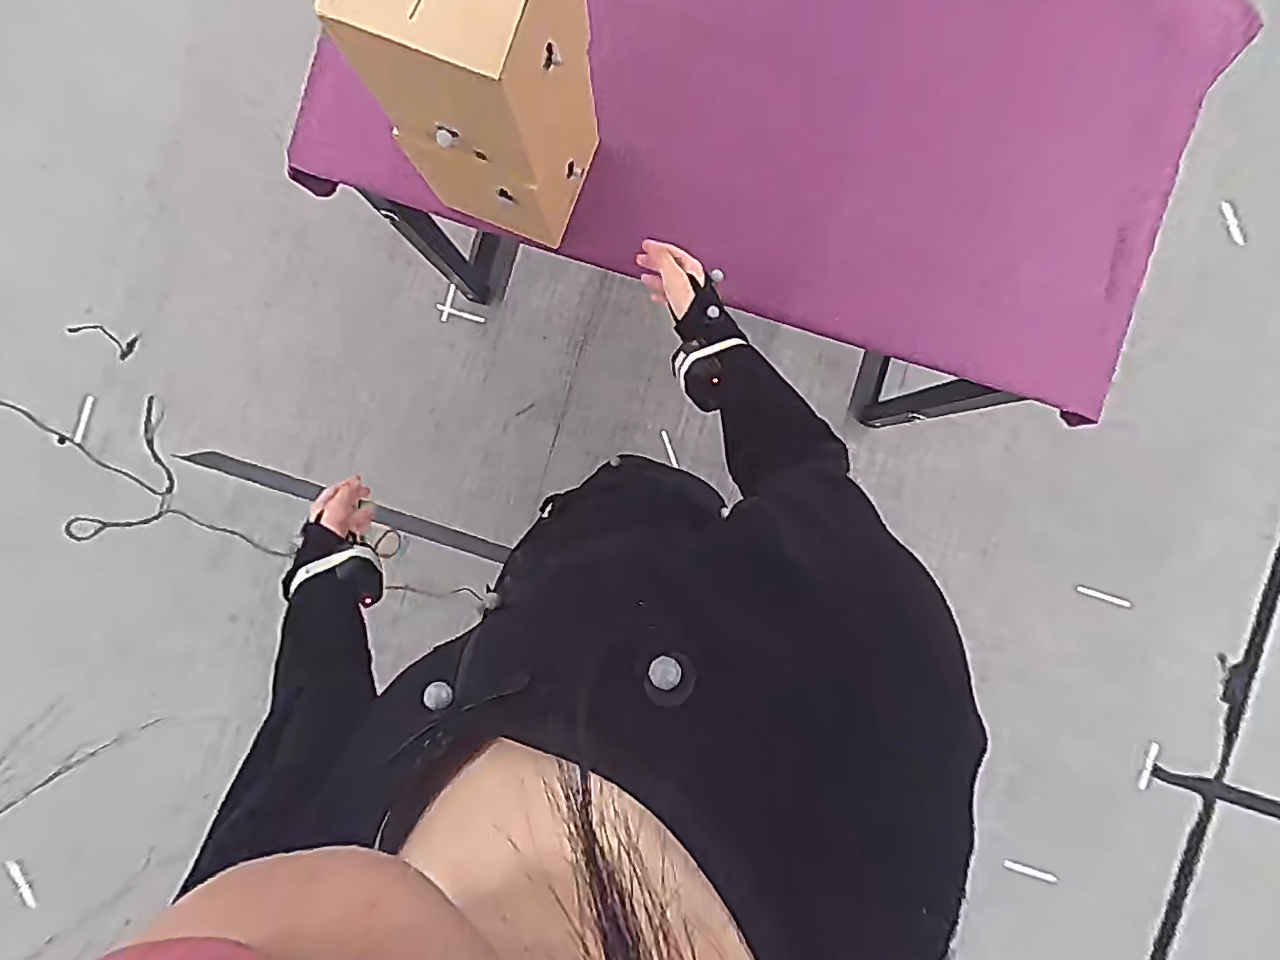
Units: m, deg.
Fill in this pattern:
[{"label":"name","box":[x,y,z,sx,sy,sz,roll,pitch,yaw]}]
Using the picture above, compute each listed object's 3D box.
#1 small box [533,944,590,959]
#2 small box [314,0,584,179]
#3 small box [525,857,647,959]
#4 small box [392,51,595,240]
[{"label":"small box","box":[-0.088,0.748,0.678,0.168,0.176,0.179,17,92,0]},{"label":"small box","box":[-0.159,-0.434,0.513,0.168,0.176,0.179,21,92,-1]},{"label":"small box","box":[-0.088,0.746,0.841,0.168,0.176,0.179,19,92,-1]},{"label":"small box","box":[-0.166,-0.430,0.678,0.179,0.176,0.168,22,91,0]}]
